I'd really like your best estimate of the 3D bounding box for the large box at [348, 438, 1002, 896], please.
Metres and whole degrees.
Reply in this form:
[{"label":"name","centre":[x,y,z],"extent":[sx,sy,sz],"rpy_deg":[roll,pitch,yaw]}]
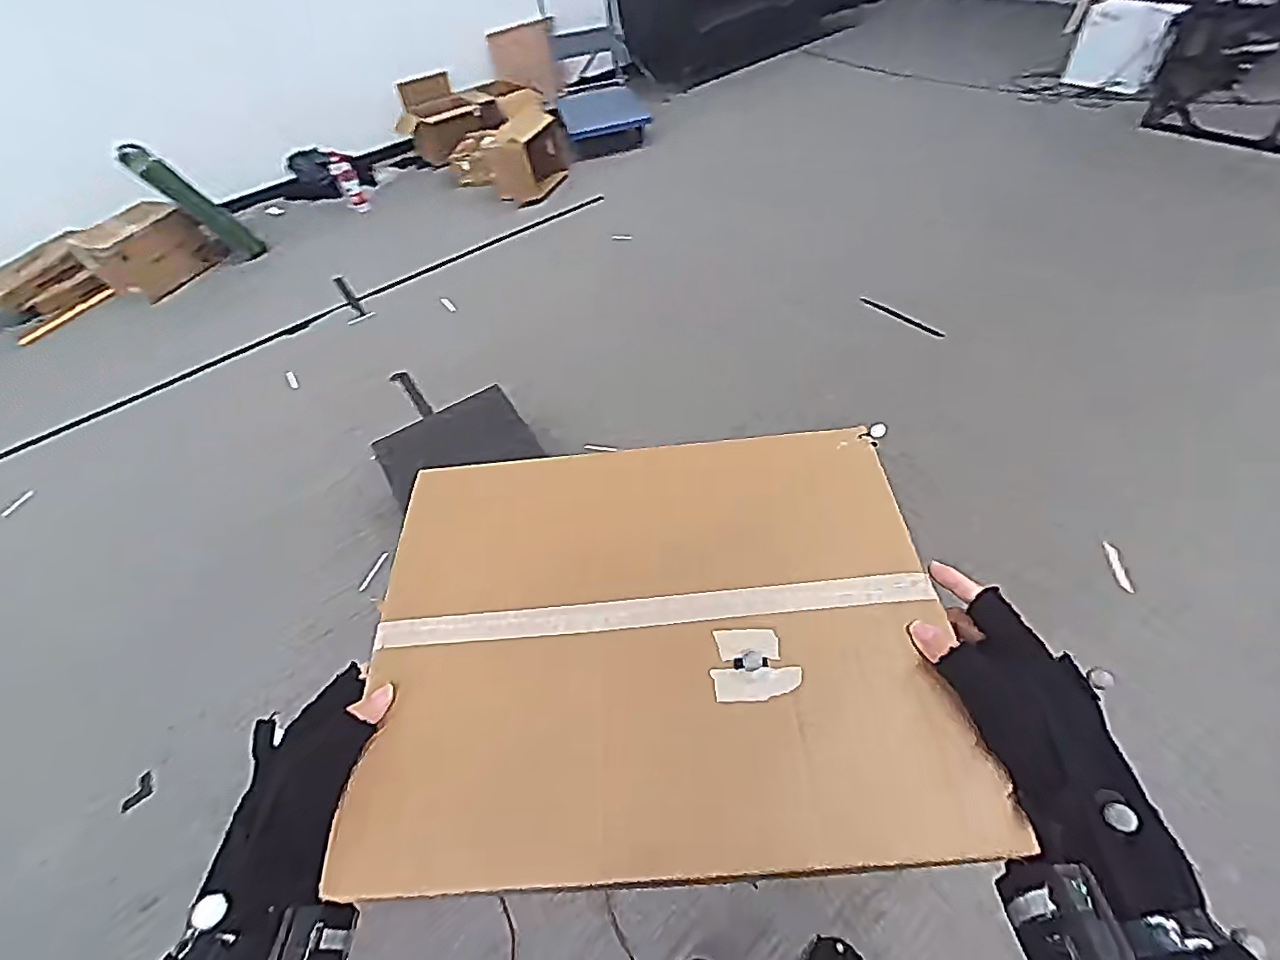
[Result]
[{"label":"large box","centre":[0.019,0.193,0.528],"extent":[0.408,0.320,0.320],"rpy_deg":[-6,53,2]}]
